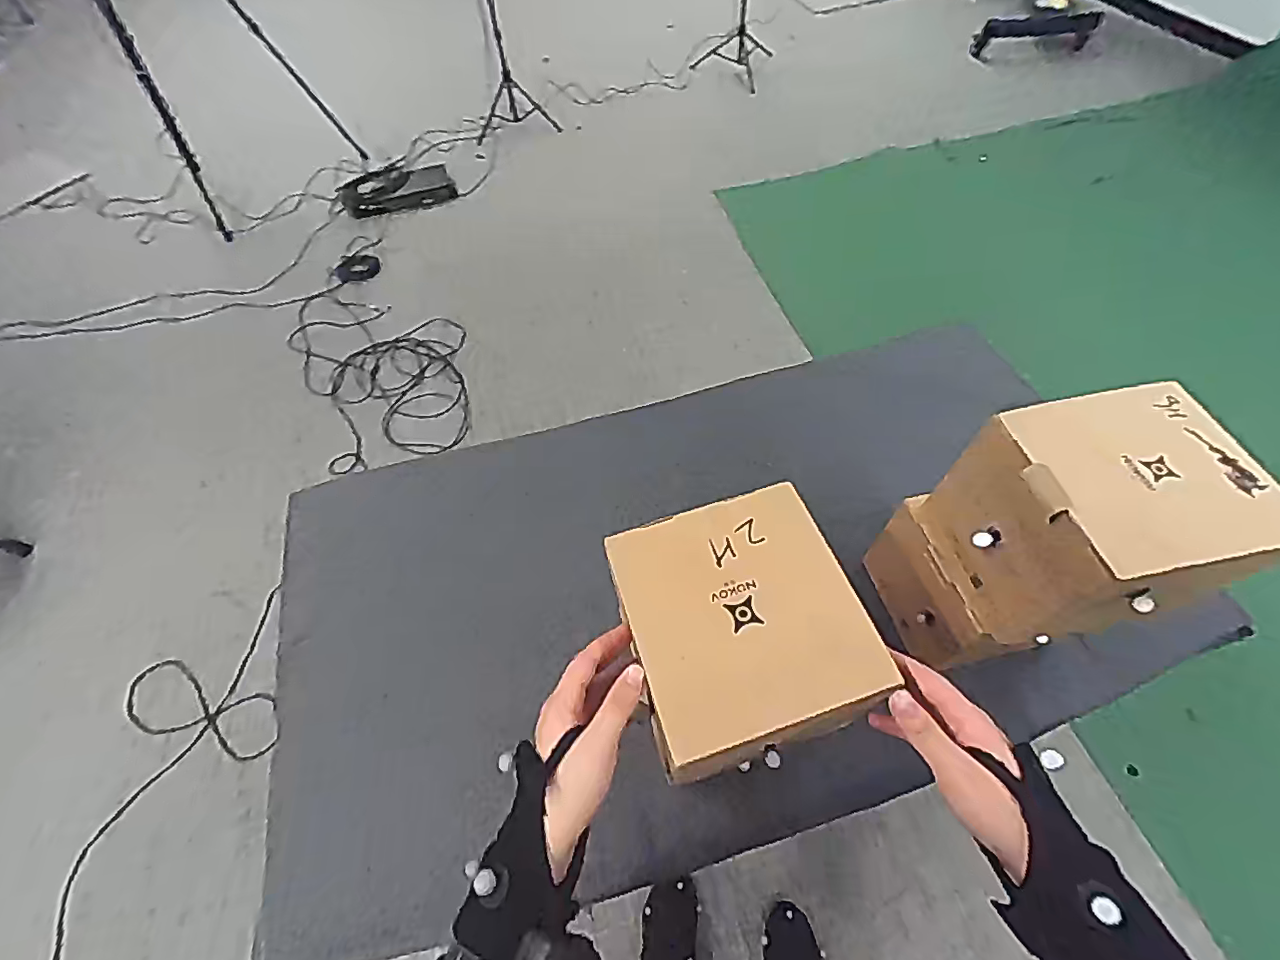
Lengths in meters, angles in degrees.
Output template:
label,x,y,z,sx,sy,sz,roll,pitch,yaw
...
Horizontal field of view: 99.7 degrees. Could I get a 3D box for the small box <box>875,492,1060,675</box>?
label,x,y,z,sx,sy,sz,roll,pitch,yaw
small box,0.406,0.116,0.644,0.179,0.176,0.168,-12,57,-5

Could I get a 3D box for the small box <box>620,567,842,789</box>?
label,x,y,z,sx,sy,sz,roll,pitch,yaw
small box,0.087,0.222,0.594,0.179,0.176,0.168,-16,56,-5

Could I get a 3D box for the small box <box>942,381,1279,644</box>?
label,x,y,z,sx,sy,sz,roll,pitch,yaw
small box,0.413,0.038,0.498,0.179,0.176,0.168,-10,57,-3
